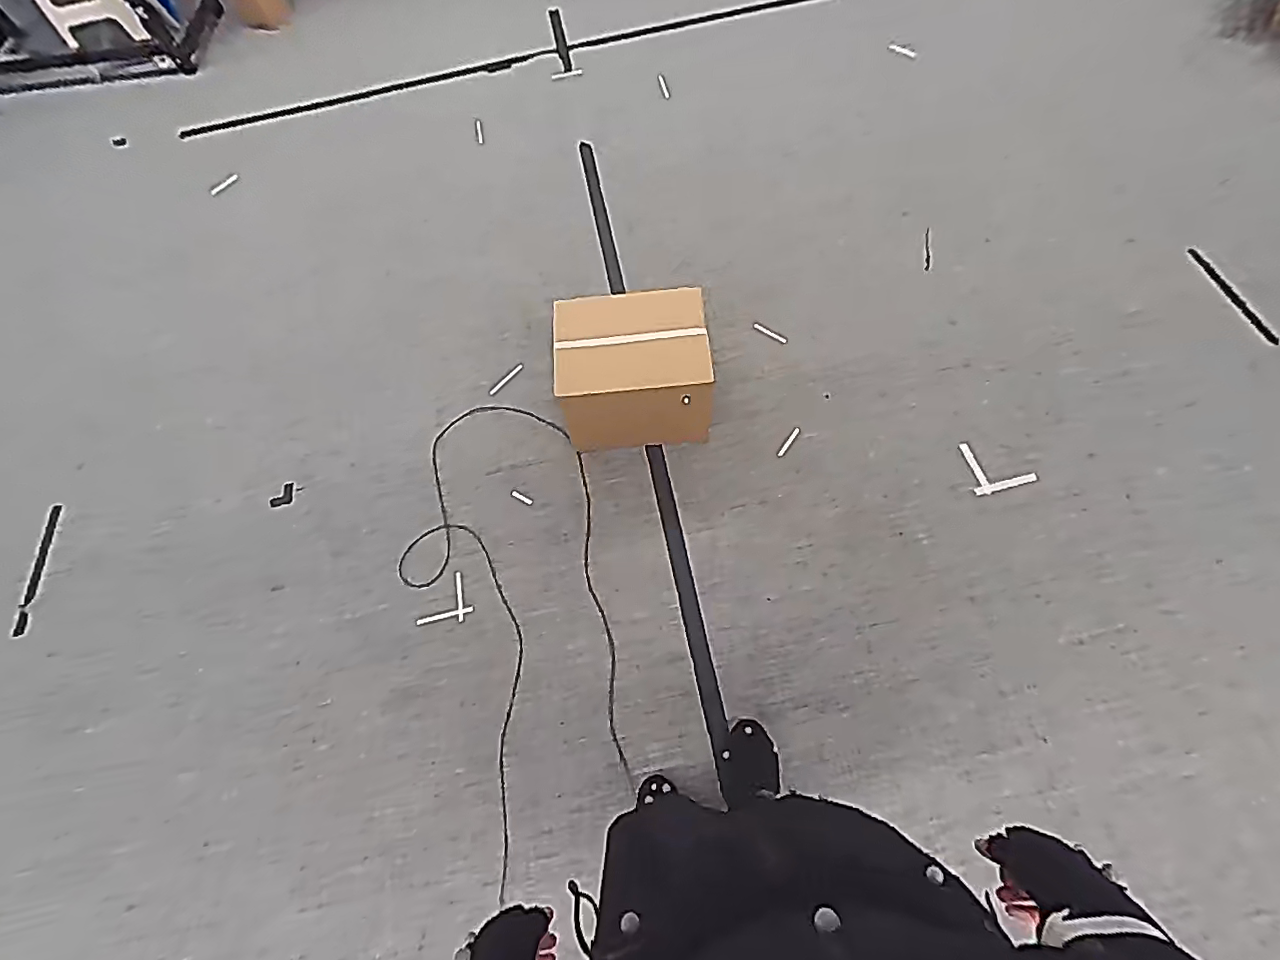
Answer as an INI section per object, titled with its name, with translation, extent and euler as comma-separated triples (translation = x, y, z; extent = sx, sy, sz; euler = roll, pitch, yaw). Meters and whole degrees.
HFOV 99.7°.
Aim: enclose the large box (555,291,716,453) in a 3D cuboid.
[large box]
translation = -0.011, -0.292, 1.538
extent = 0.408, 0.320, 0.320
euler = -5, 65, 2
